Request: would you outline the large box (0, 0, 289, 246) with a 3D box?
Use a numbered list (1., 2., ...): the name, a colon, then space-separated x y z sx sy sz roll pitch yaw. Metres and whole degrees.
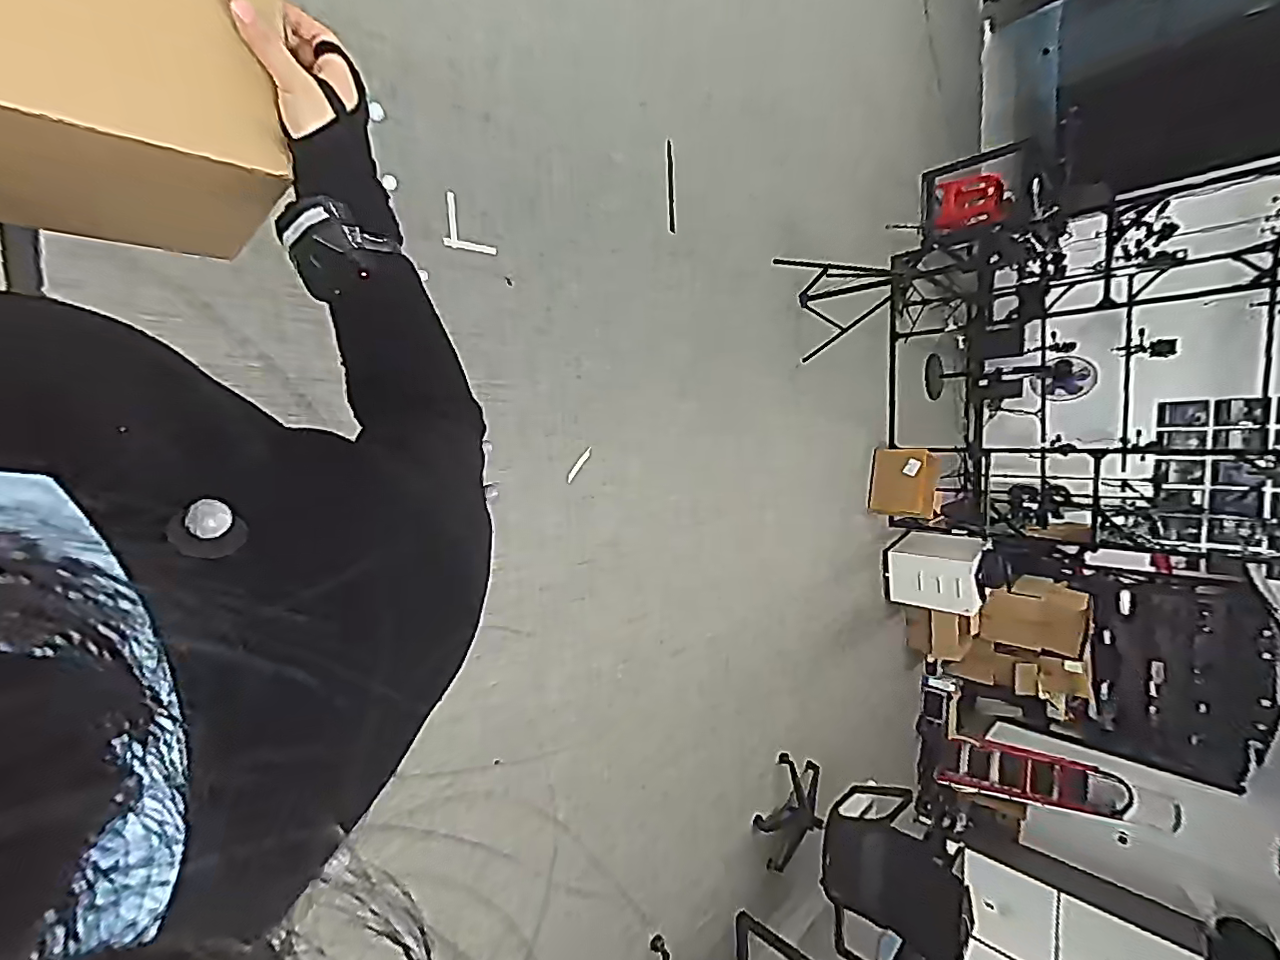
1. large box: -0.526 -0.391 0.387 0.408 0.320 0.320 -7 99 -43
